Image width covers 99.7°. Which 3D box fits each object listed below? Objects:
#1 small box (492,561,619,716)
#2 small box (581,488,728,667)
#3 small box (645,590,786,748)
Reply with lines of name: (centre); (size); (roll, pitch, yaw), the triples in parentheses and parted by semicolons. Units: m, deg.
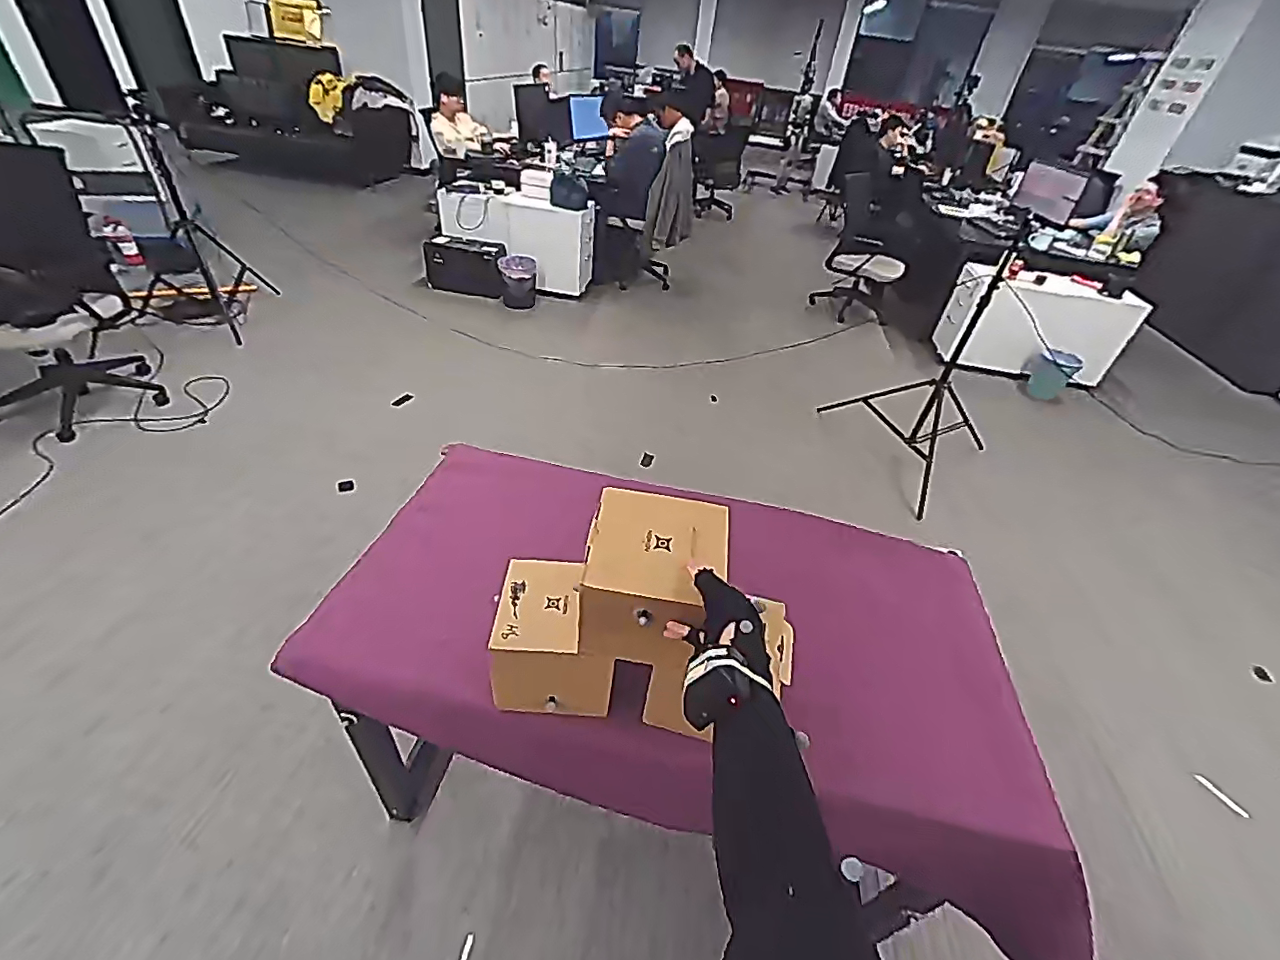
small box: (-0.126, 0.251, 0.851); (0.179, 0.176, 0.168); (6, 38, -4)
small box: (0.018, 0.137, 0.743); (0.179, 0.176, 0.168); (9, 45, 1)
small box: (0.116, 0.287, 0.842); (0.179, 0.176, 0.168); (13, 39, 9)
